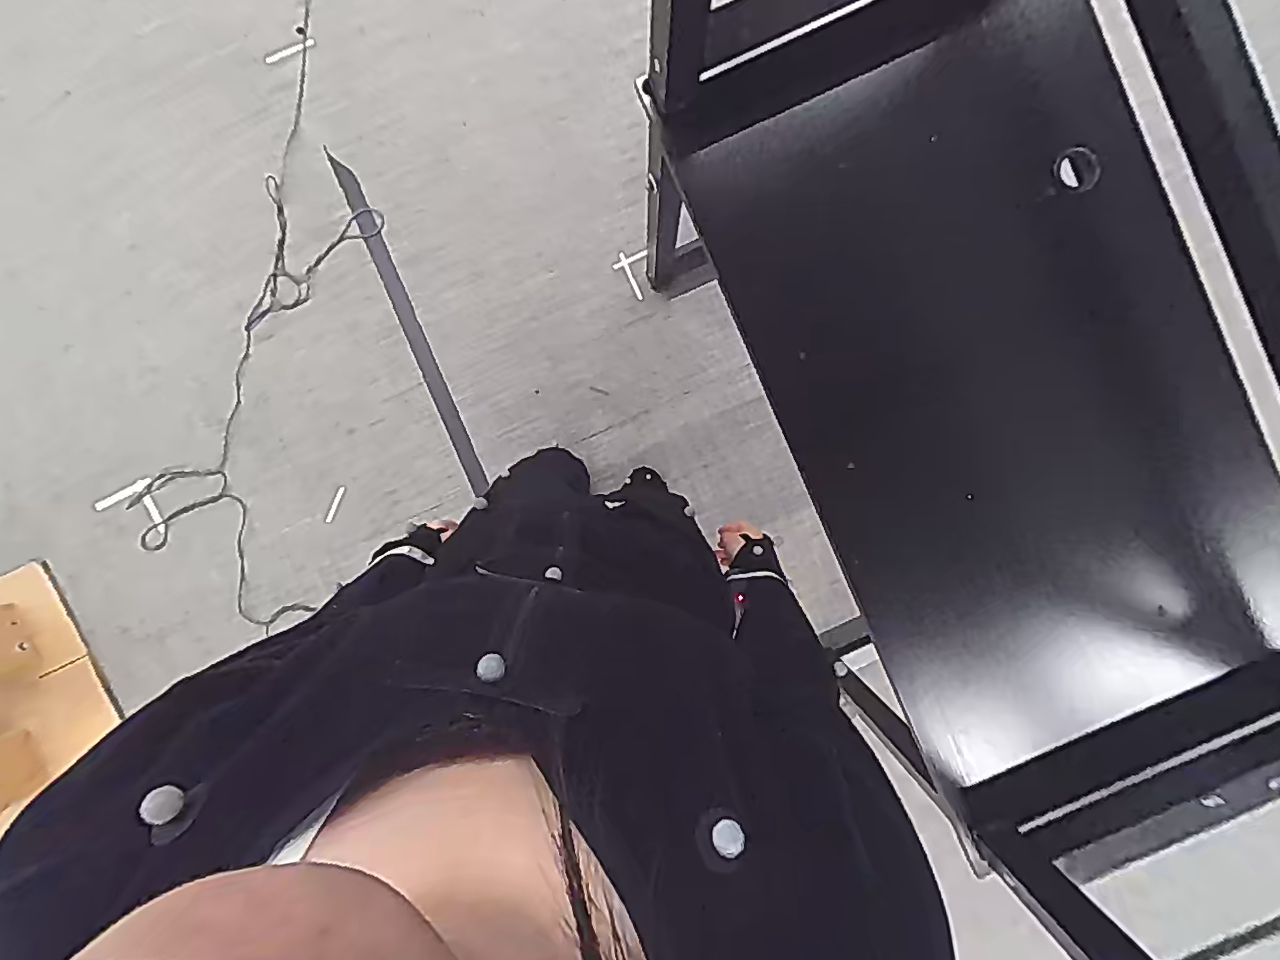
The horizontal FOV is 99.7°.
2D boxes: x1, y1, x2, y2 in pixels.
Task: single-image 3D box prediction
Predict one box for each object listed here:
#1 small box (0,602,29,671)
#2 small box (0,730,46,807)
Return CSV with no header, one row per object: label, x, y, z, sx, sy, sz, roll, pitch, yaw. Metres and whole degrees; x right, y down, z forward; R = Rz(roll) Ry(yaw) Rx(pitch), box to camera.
small box,-1.760,0.440,1.396,0.179,0.176,0.168,-29,92,1
small box,-1.741,0.784,1.409,0.168,0.176,0.179,-22,93,0
